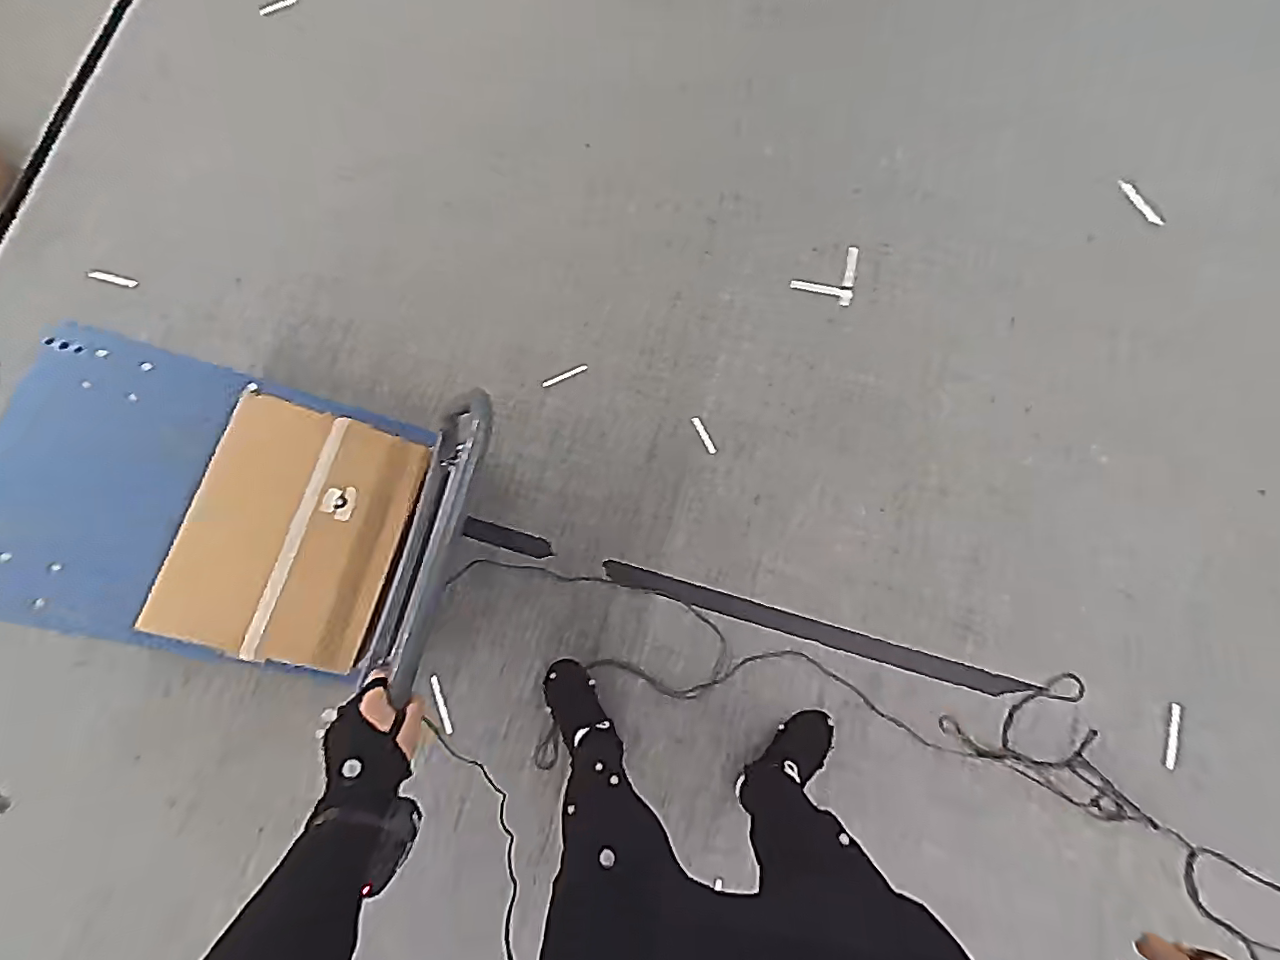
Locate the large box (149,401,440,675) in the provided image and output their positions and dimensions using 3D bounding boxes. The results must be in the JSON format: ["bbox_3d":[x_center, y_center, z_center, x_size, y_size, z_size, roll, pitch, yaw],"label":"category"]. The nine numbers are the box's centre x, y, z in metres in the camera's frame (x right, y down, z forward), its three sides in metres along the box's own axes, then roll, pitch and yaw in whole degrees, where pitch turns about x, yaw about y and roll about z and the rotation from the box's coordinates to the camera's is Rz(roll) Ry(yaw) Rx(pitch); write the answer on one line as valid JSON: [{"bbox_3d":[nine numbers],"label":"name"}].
[{"bbox_3d":[-0.611,0.118,1.043,0.320,0.320,0.408,18,78,-15],"label":"large box"}]
